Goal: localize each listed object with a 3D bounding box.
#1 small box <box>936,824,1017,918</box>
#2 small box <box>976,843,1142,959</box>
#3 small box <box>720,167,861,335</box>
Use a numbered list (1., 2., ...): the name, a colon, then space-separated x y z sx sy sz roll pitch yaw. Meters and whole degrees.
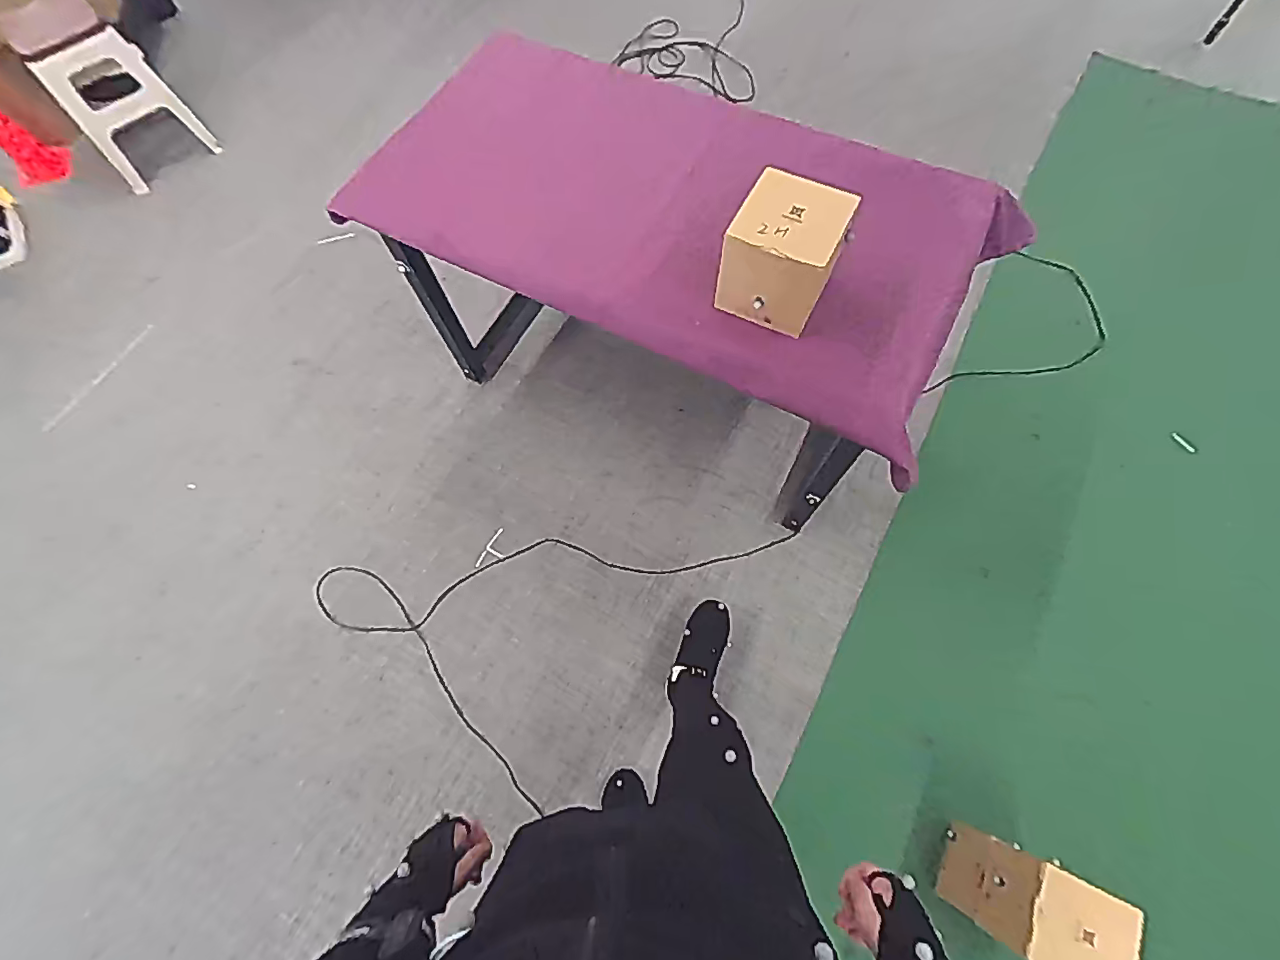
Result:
1. small box: 0.788 0.889 1.187 0.179 0.176 0.168 25 71 10
2. small box: 0.789 0.834 1.034 0.179 0.176 0.168 24 71 11
3. small box: 0.248 -0.388 0.930 0.168 0.176 0.179 26 70 12
